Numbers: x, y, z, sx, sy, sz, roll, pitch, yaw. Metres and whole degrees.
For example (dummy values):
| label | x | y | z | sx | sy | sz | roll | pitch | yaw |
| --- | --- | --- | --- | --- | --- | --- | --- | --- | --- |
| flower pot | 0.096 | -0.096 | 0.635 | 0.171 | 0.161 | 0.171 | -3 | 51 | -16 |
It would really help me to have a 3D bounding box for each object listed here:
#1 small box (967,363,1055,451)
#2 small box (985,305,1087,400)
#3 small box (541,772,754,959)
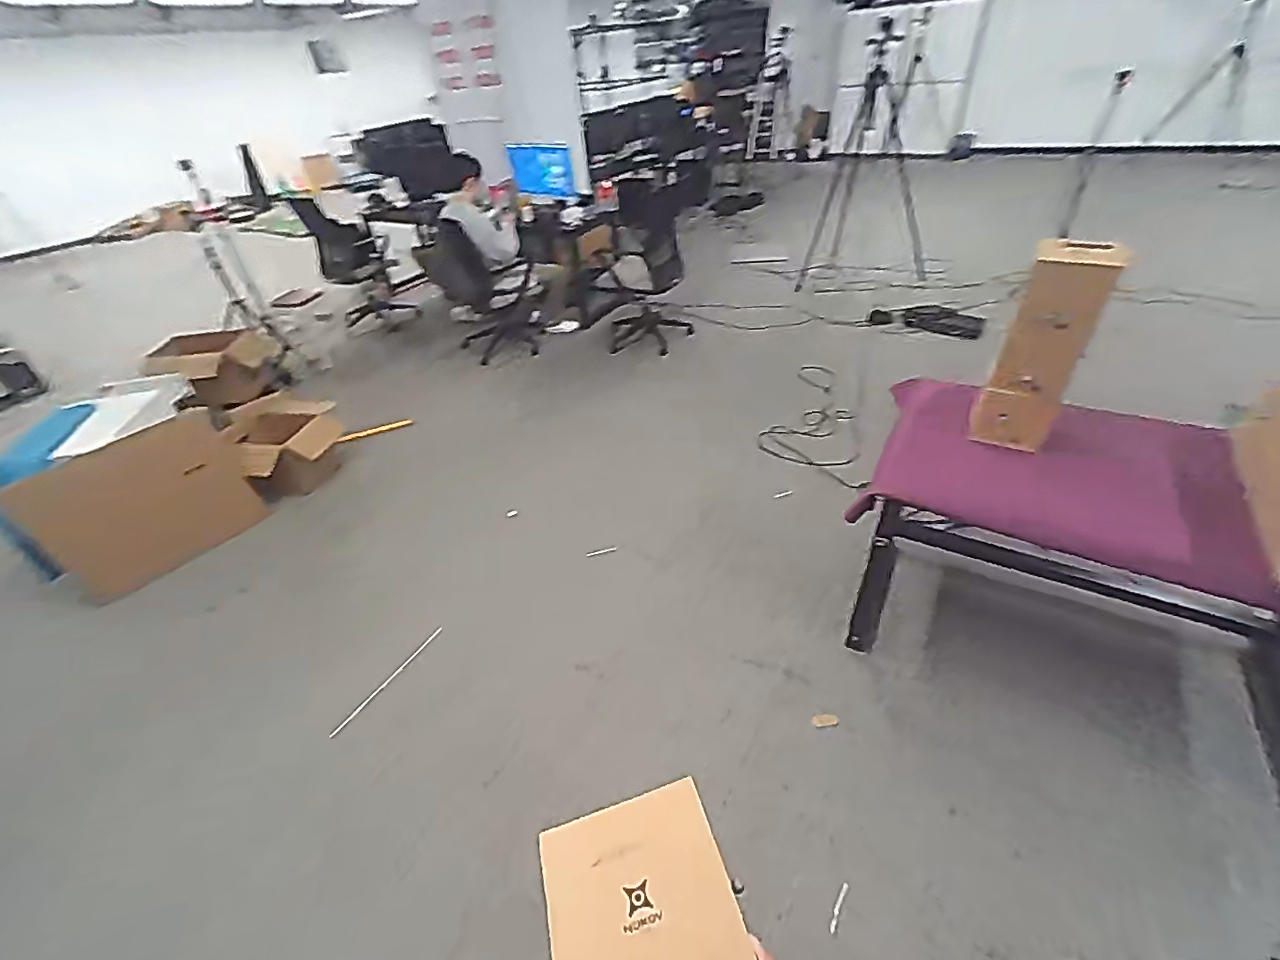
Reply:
| label | x | y | z | sx | sy | sz | roll | pitch | yaw |
| --- | --- | --- | --- | --- | --- | --- | --- | --- | --- |
| small box | 1.023 | -0.202 | 1.496 | 0.168 | 0.176 | 0.179 | 16 | 42 | 26 |
| small box | 1.016 | -0.331 | 1.394 | 0.168 | 0.176 | 0.179 | 19 | 45 | 29 |
| small box | 0.011 | 0.431 | 0.525 | 0.168 | 0.176 | 0.179 | -15 | 35 | -7 |
